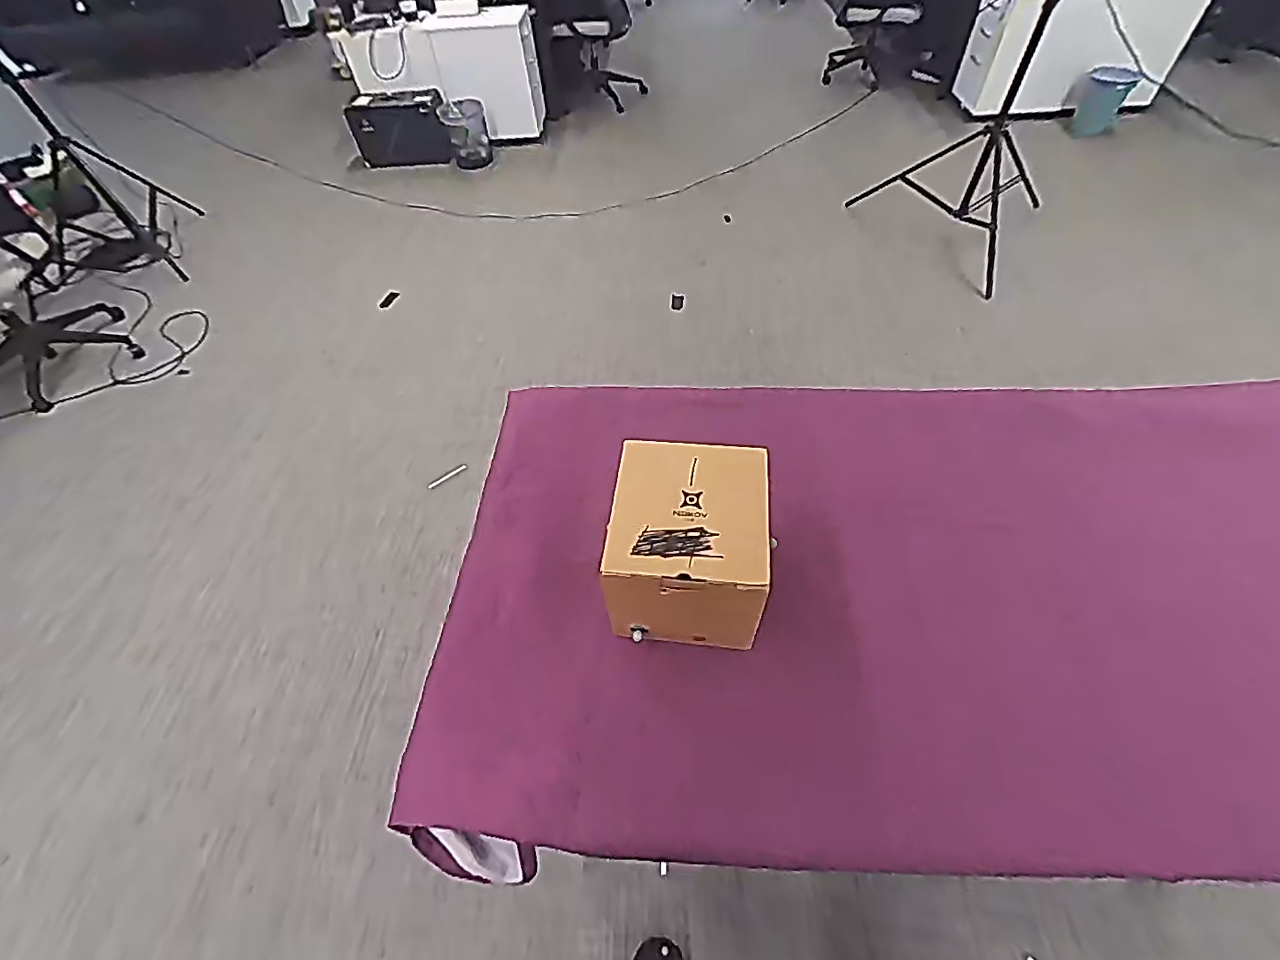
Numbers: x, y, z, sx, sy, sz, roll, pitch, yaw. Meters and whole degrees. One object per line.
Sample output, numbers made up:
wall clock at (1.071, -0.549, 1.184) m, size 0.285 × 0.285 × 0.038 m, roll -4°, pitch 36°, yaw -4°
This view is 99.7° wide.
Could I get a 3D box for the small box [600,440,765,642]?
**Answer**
small box at (0.056, 0.075, 0.637) m, size 0.168 × 0.176 × 0.179 m, roll 4°, pitch 53°, yaw 6°
